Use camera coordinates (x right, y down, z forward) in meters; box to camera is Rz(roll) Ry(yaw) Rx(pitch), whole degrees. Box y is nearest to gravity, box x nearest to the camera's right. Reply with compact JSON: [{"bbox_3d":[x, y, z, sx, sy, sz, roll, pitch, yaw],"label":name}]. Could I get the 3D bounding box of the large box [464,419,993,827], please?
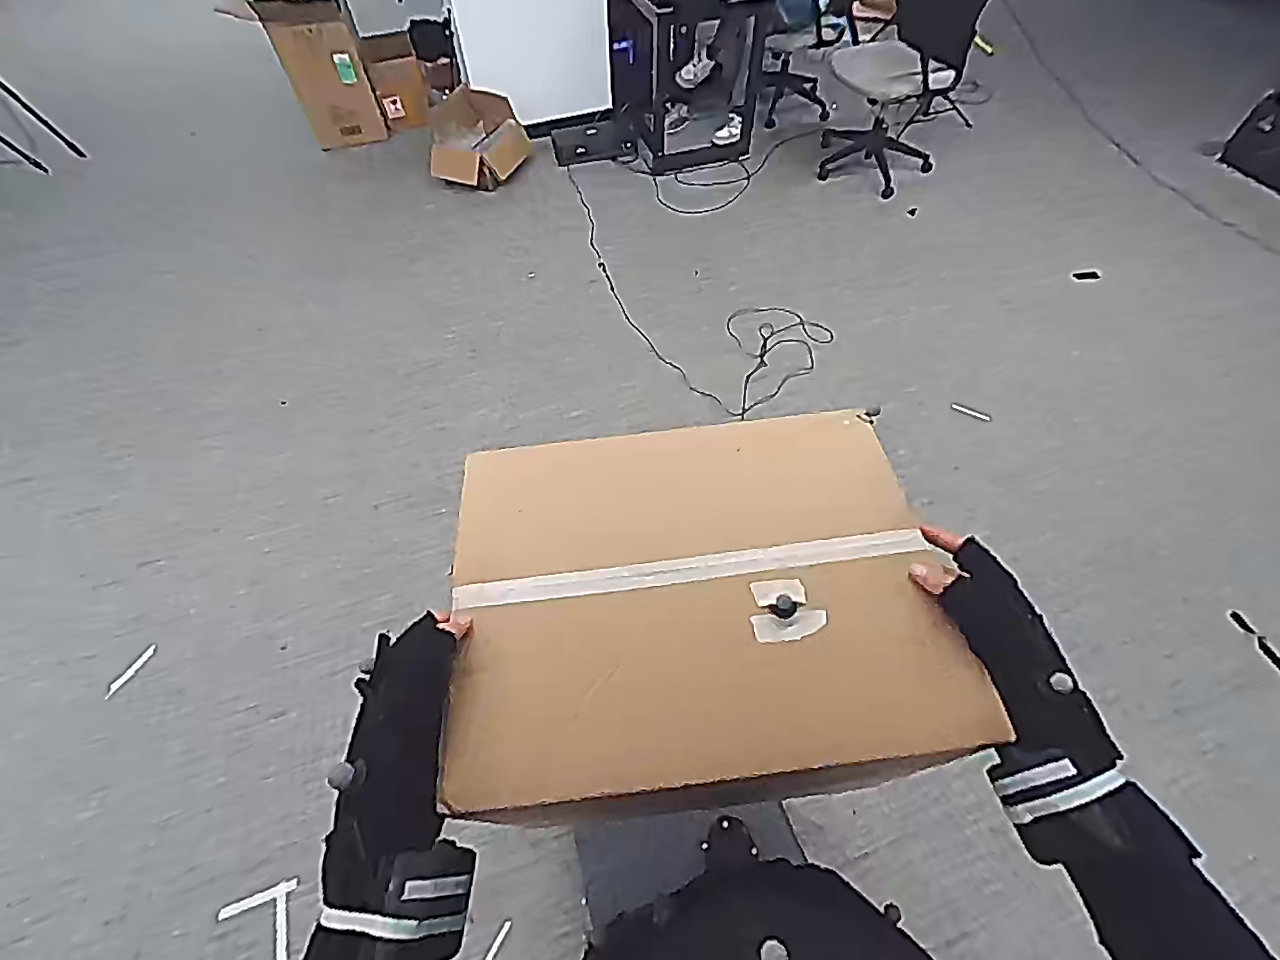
[{"bbox_3d":[0.055,0.169,0.599,0.408,0.320,0.320,-7,56,-2],"label":"large box"}]
